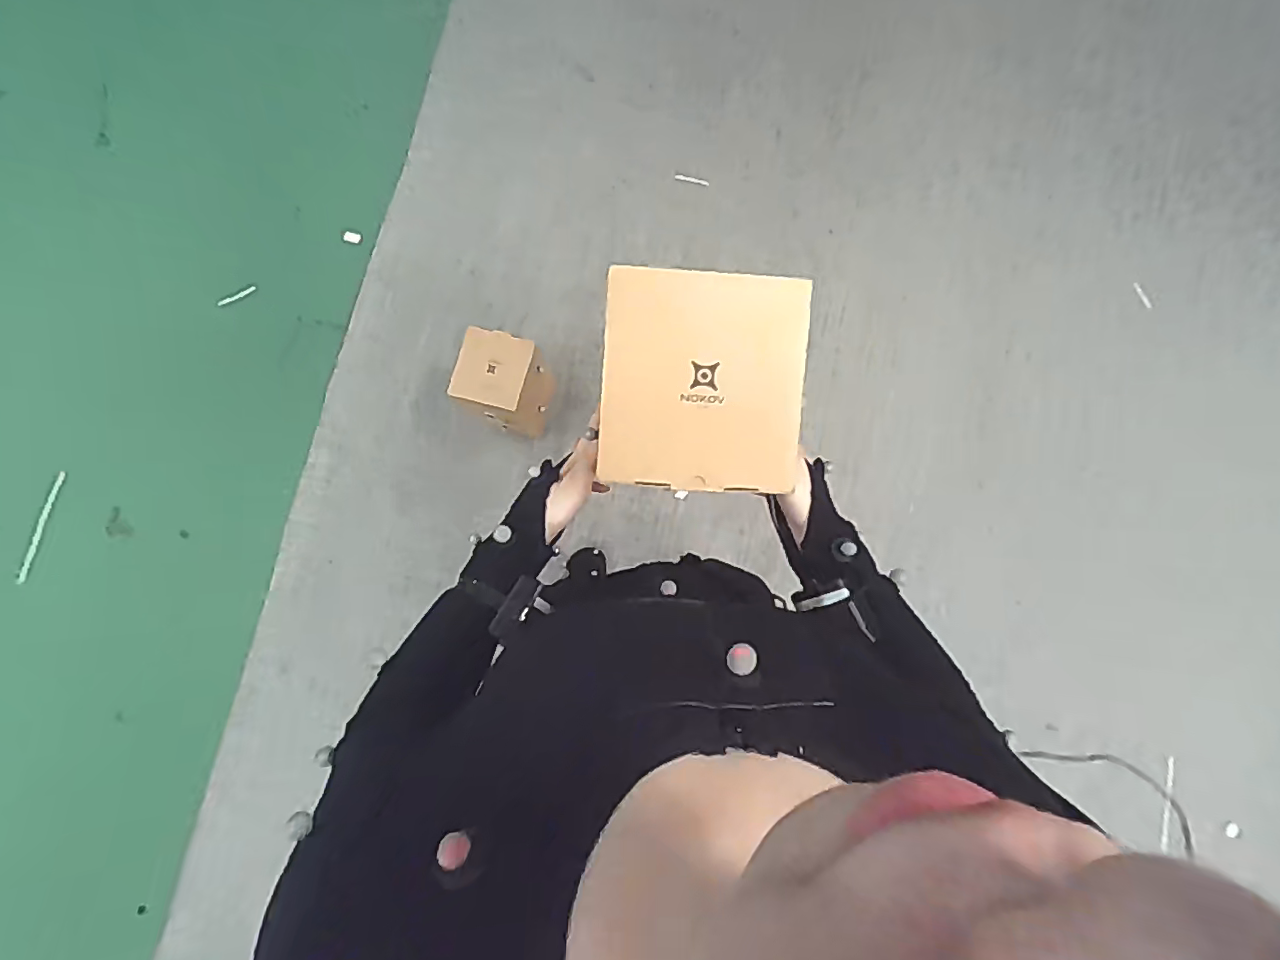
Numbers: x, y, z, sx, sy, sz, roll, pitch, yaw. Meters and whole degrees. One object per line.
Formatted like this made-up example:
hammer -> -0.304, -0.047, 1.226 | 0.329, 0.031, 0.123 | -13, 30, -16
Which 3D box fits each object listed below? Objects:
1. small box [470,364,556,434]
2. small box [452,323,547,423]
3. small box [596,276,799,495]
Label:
small box -> -0.340, -0.238, 1.490 | 0.168, 0.176, 0.179 | 17, 84, 1
small box -> -0.335, -0.255, 1.328 | 0.168, 0.176, 0.179 | 14, 84, 2
small box -> 0.044, -0.084, 0.530 | 0.168, 0.176, 0.179 | 2, 96, -2
